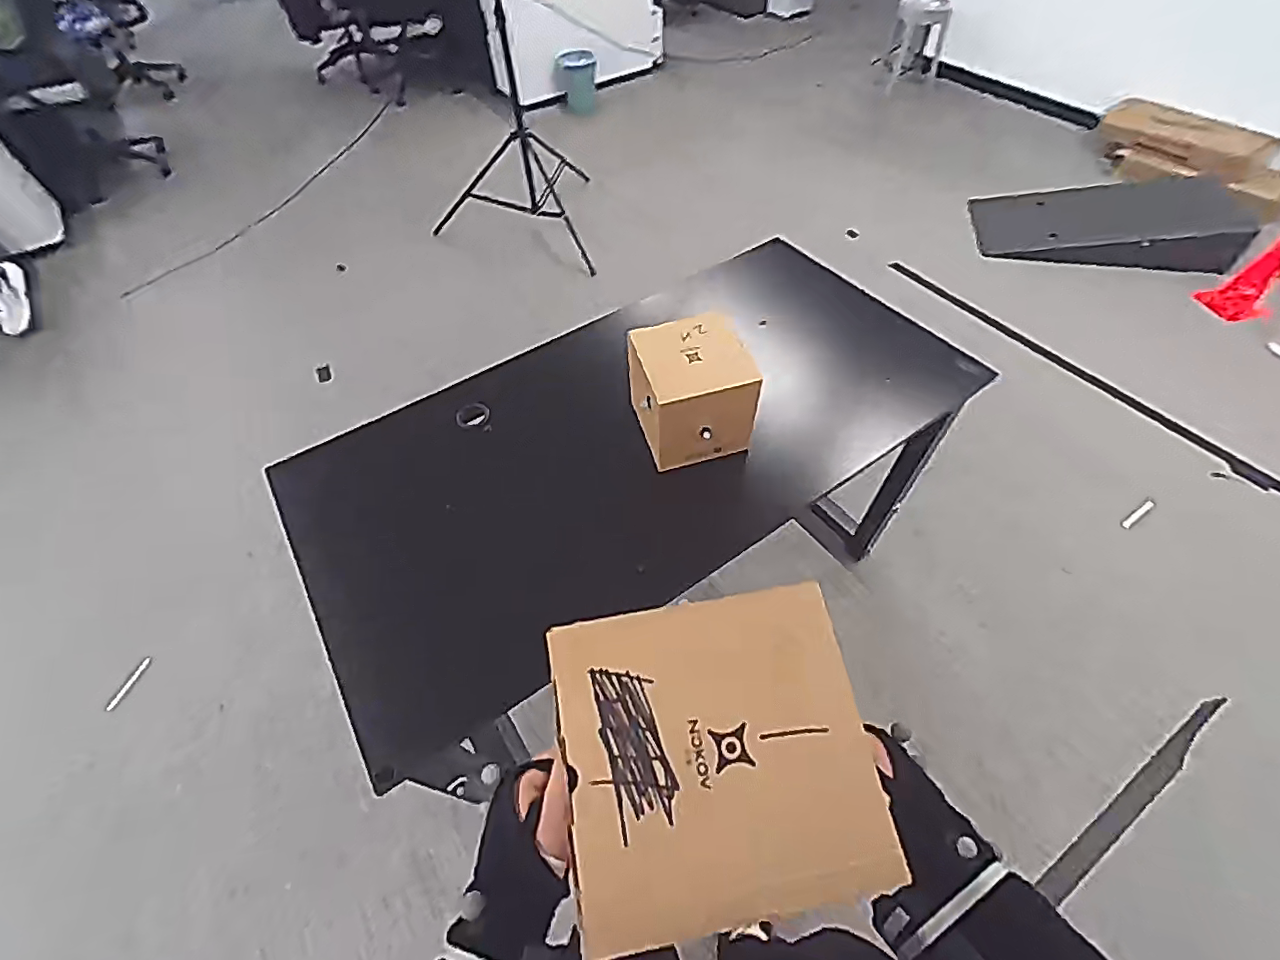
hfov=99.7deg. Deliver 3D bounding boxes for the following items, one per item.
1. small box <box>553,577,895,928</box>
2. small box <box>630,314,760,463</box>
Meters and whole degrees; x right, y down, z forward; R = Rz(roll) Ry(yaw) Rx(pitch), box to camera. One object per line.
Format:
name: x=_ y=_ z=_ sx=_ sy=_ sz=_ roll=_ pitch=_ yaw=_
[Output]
small box: x=0.042 y=0.181 z=0.393 sx=0.179 sy=0.176 sz=0.168 roll=-9 pitch=68 yaw=-5
small box: x=0.086 y=-0.146 z=0.916 sx=0.168 sy=0.176 sz=0.179 roll=-14 pitch=55 yaw=-8
